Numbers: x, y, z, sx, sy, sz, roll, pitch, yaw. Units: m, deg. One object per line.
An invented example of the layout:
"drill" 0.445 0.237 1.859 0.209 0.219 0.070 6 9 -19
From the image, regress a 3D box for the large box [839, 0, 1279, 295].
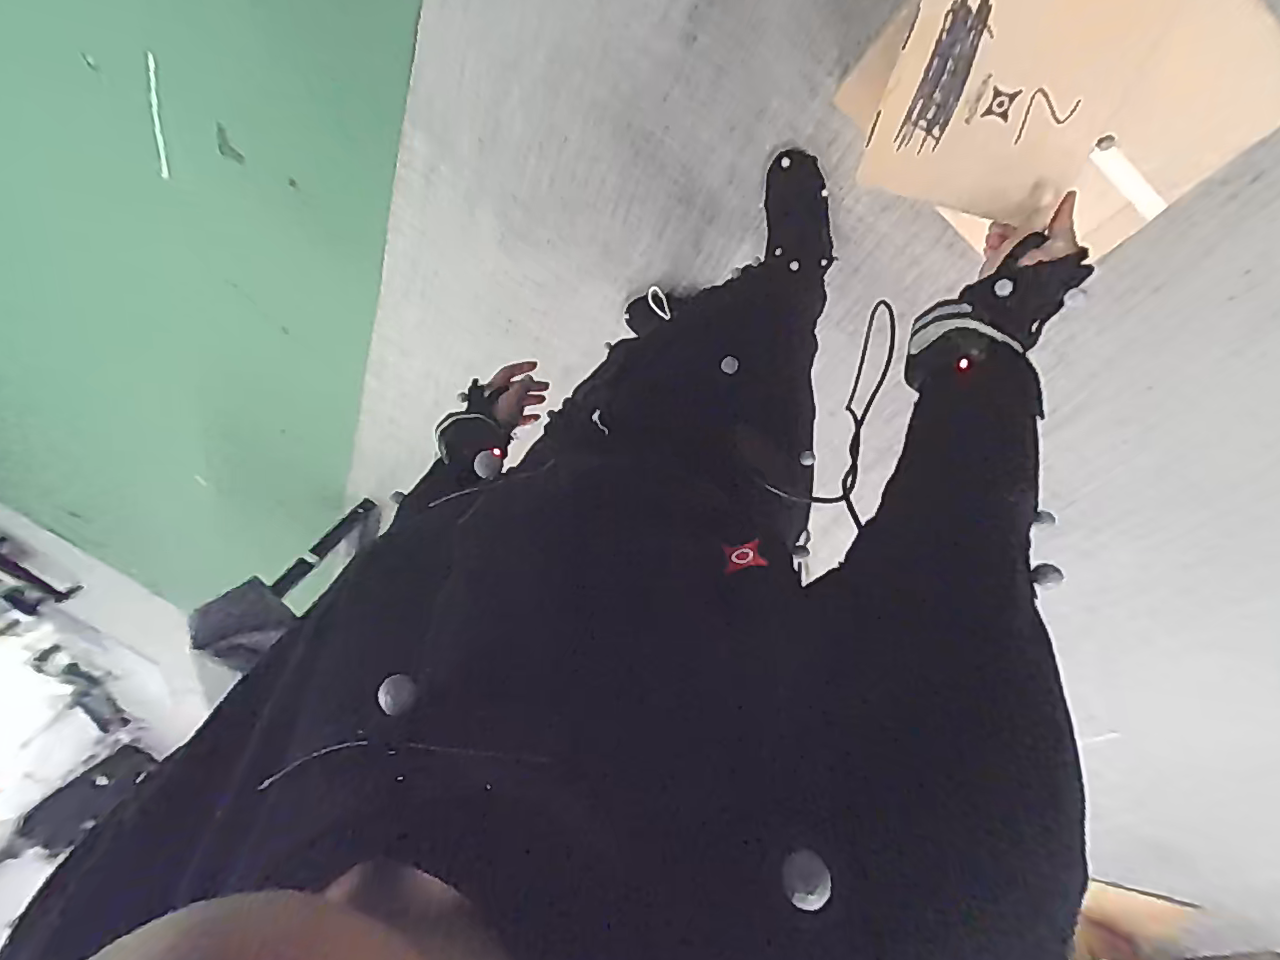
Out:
"large box" 0.533 -0.545 0.741 0.408 0.320 0.320 38 132 -10
